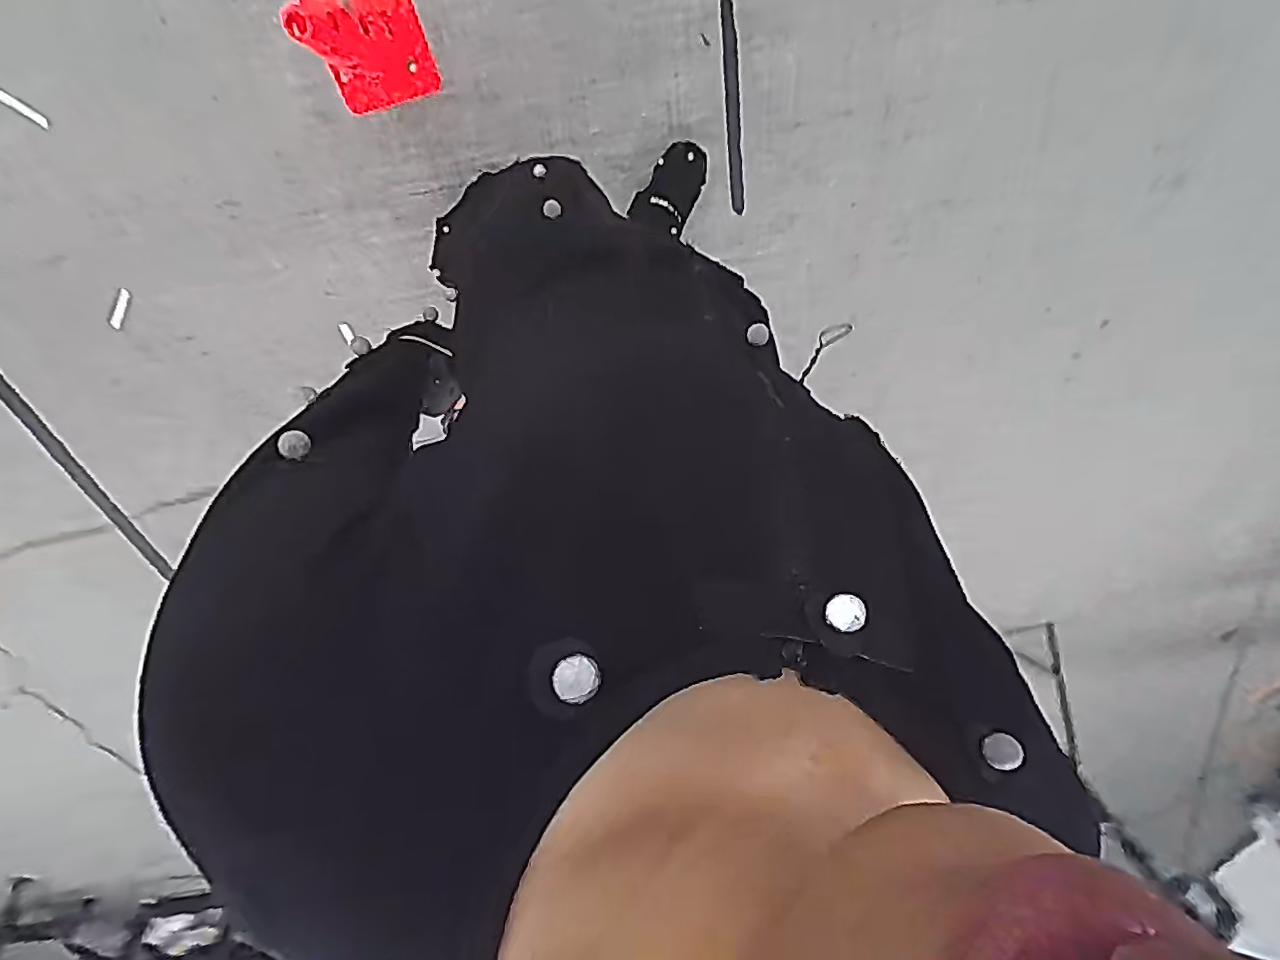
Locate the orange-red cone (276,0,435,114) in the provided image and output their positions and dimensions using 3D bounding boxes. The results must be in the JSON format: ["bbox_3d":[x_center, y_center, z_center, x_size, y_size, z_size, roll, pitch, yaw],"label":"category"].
[{"bbox_3d":[-0.494,-0.725,0.876,0.198,0.360,0.199,-14,124,2],"label":"orange-red cone"}]
